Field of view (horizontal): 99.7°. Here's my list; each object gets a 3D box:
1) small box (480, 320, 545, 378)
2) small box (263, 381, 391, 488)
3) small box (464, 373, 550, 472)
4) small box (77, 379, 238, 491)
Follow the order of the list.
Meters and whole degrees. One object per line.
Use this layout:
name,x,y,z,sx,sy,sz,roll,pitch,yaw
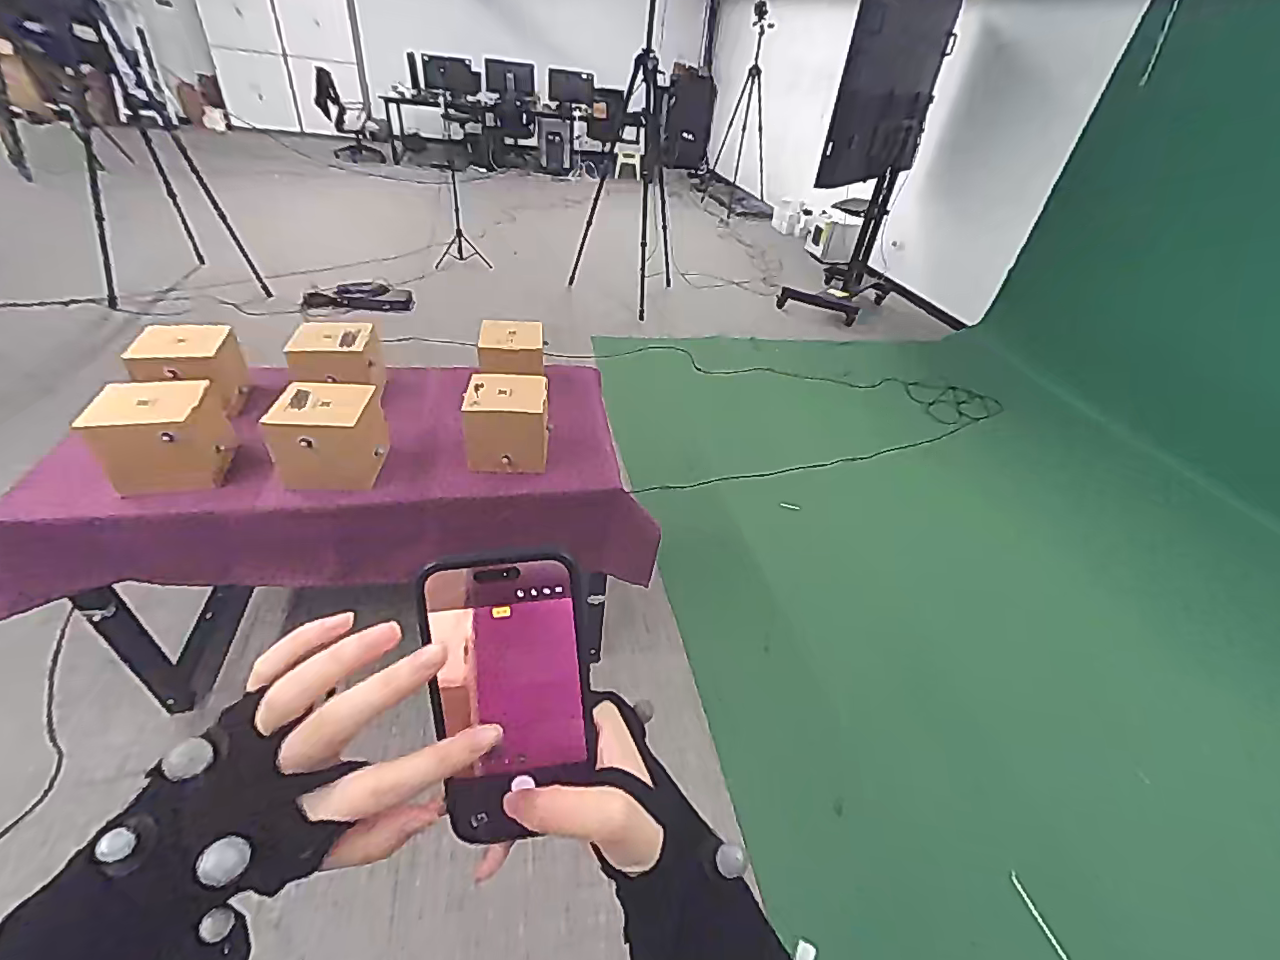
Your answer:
small box,-0.350,-0.330,1.509,0.168,0.176,0.179,-1,40,-10
small box,-0.658,-0.096,1.163,0.179,0.176,0.168,2,39,-9
small box,-0.305,-0.132,1.269,0.179,0.176,0.168,2,38,-7
small box,-0.966,-0.091,1.105,0.179,0.176,0.168,-5,40,-18
